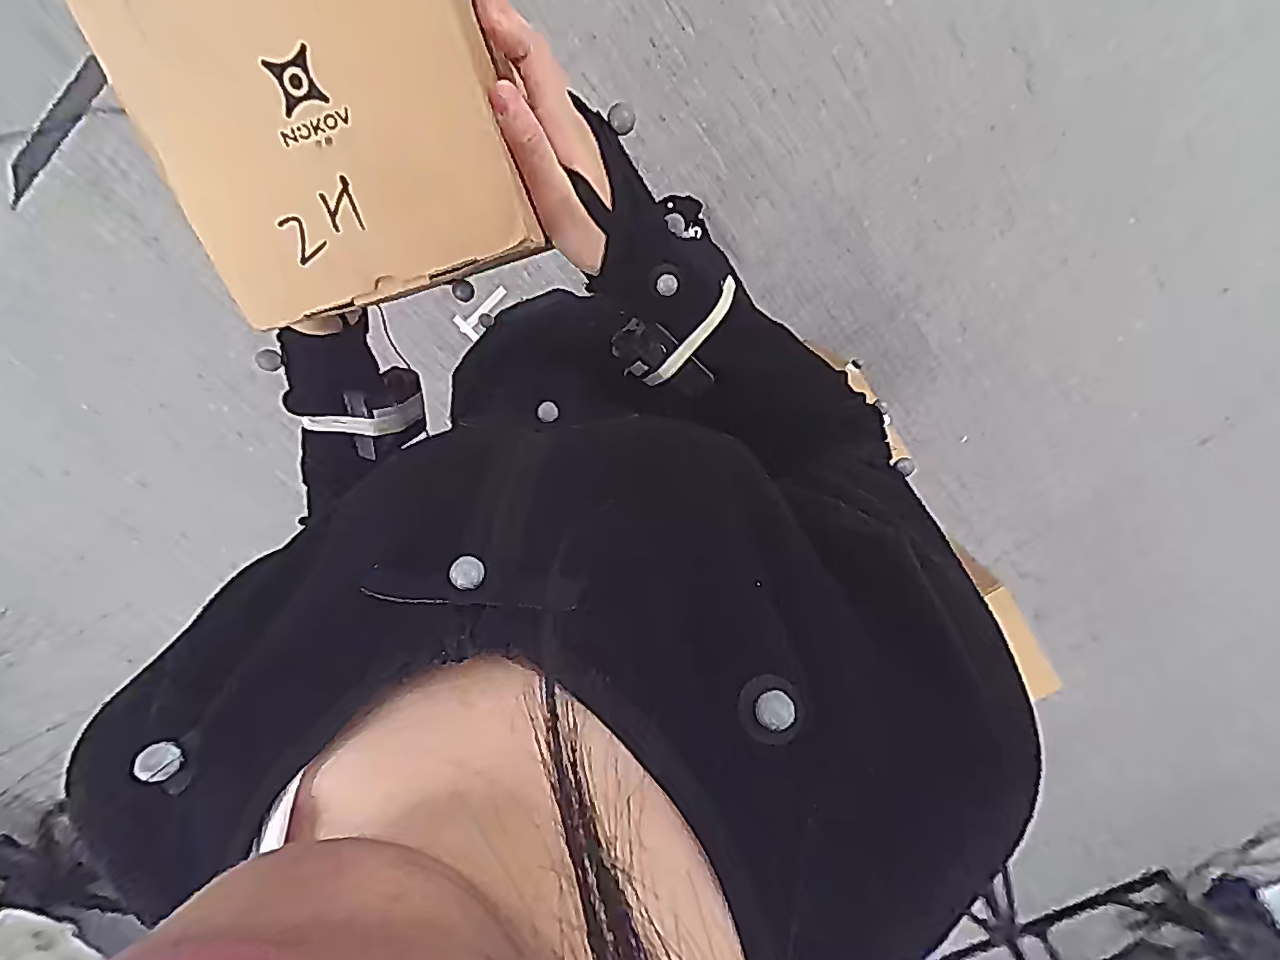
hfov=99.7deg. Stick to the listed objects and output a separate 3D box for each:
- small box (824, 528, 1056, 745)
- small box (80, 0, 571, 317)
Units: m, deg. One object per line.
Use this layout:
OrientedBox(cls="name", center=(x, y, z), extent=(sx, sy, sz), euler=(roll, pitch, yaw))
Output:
OrientedBox(cls="small box", center=(0.362, 0.183, 0.684), extent=(0.168, 0.176, 0.179), euler=(-34, 109, 14))
OrientedBox(cls="small box", center=(-0.152, -0.213, 0.324), extent=(0.168, 0.176, 0.179), euler=(-14, 113, 8))
